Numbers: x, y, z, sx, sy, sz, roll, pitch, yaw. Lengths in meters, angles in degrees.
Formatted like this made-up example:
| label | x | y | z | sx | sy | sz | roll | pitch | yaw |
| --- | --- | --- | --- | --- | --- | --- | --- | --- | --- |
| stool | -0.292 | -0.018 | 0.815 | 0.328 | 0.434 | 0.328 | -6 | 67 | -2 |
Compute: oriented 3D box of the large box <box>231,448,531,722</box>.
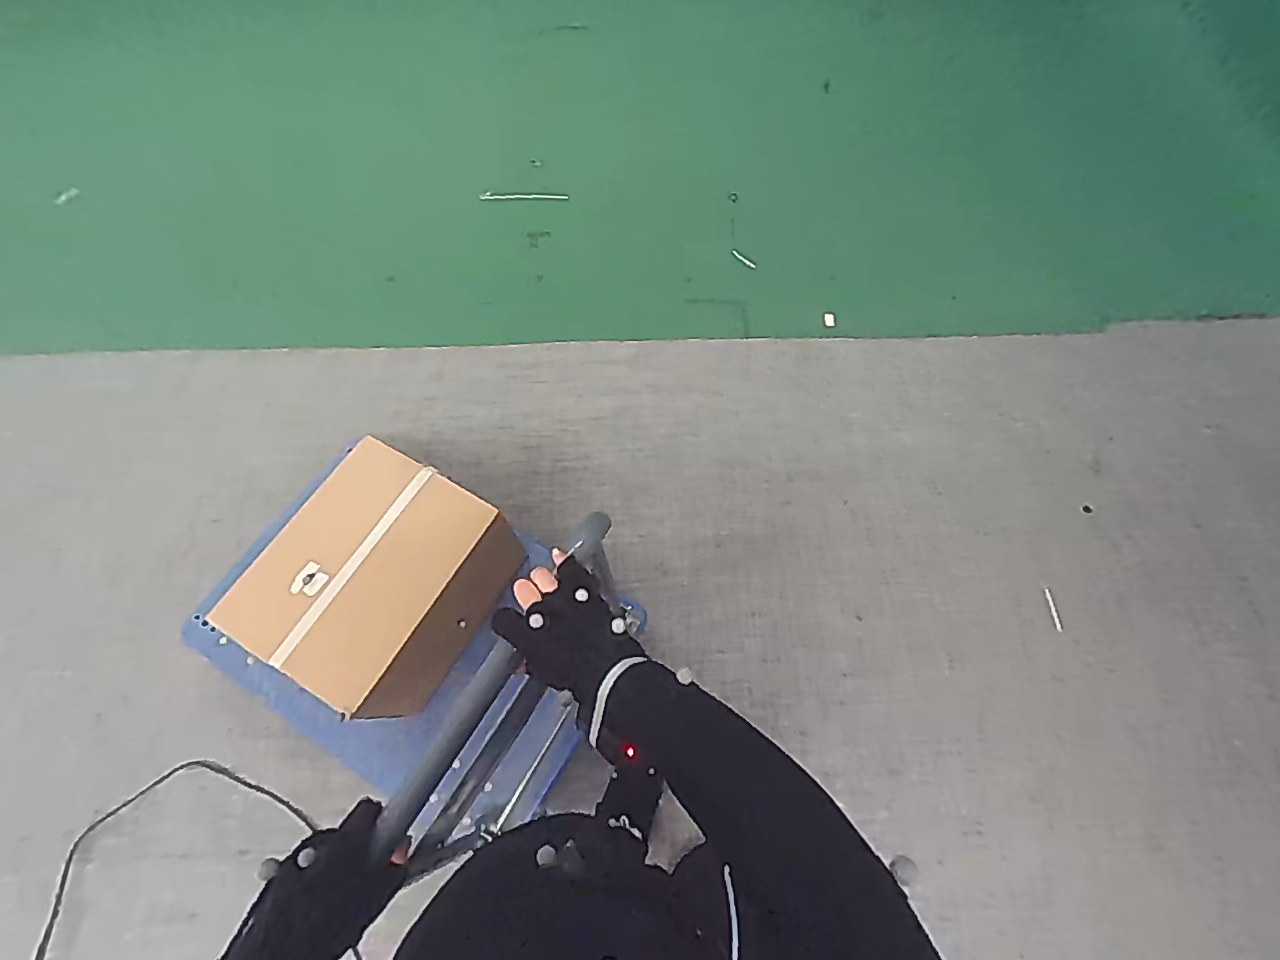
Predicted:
| label | x | y | z | sx | sy | sz | roll | pitch | yaw |
| --- | --- | --- | --- | --- | --- | --- | --- | --- | --- |
| large box | -0.476 | 0.218 | 1.099 | 0.320 | 0.320 | 0.408 | 28 | 70 | 11 |
